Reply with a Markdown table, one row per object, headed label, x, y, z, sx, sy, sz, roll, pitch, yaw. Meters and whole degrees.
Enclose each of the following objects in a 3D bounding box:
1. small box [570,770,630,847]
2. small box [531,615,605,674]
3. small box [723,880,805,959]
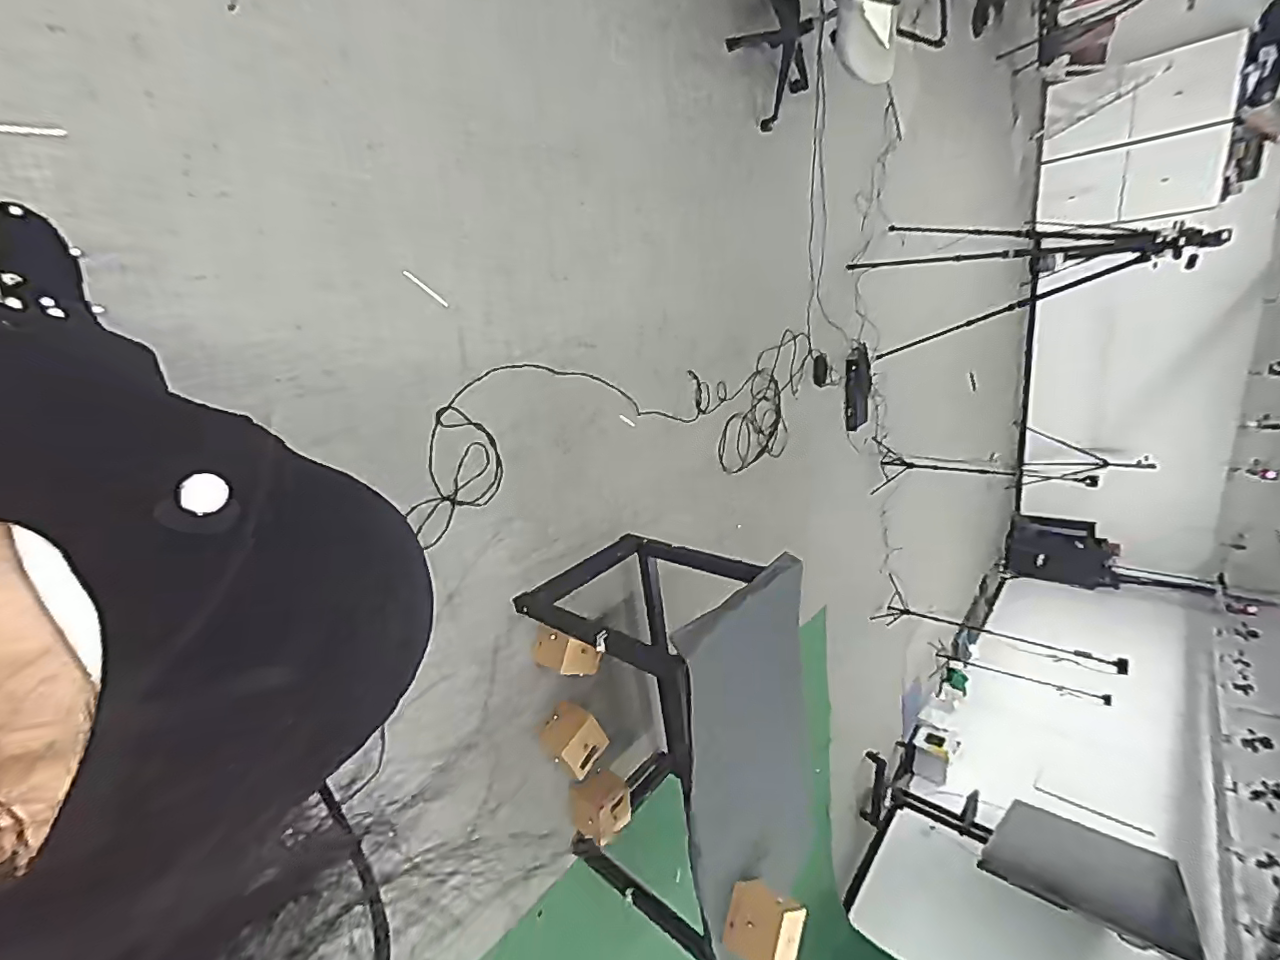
| label | x | y | z | sx | sy | sz | roll | pitch | yaw |
| --- | --- | --- | --- | --- | --- | --- | --- | --- | --- |
| small box | -0.161 | 1.283 | 2.134 | 0.168 | 0.176 | 0.179 | -18 | 110 | -44 |
| small box | -0.259 | 0.584 | 1.924 | 0.179 | 0.176 | 0.168 | 22 | 79 | -48 |
| small box | 0.373 | 1.347 | 1.638 | 0.179 | 0.176 | 0.168 | 40 | 64 | -43 |
